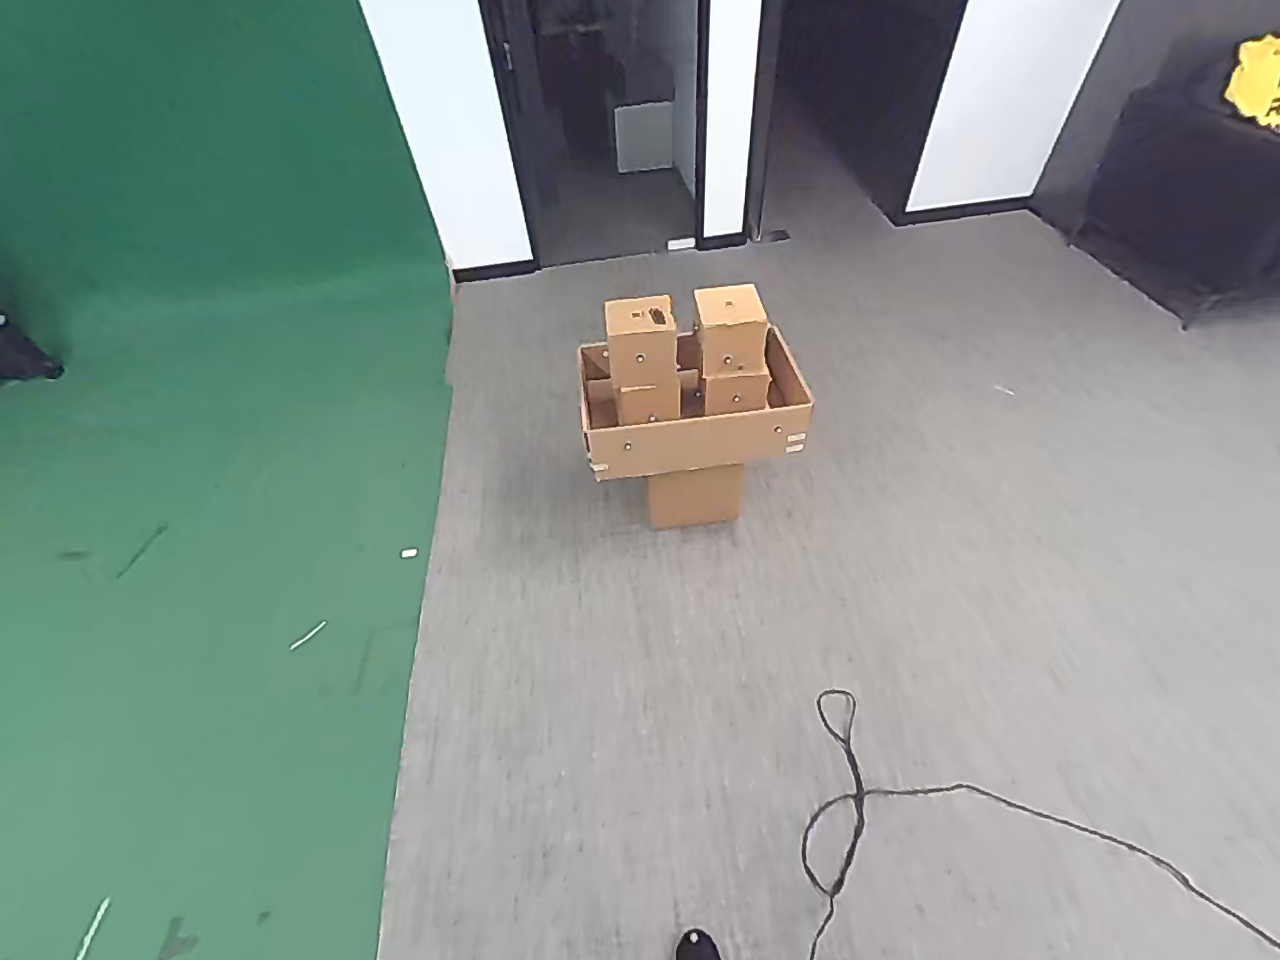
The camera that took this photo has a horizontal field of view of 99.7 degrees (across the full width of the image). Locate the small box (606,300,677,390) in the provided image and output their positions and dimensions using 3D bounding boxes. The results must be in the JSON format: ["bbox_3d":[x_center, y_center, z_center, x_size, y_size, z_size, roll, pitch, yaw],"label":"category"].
[{"bbox_3d":[0.005,-0.359,1.449,0.179,0.176,0.168,-5,48,1],"label":"small box"}]

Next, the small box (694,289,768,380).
[{"bbox_3d":[0.238,-0.392,1.466,0.168,0.176,0.179,-6,48,0],"label":"small box"}]

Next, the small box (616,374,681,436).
[{"bbox_3d":[0.018,-0.253,1.573,0.168,0.176,0.179,-10,49,-5],"label":"small box"}]
